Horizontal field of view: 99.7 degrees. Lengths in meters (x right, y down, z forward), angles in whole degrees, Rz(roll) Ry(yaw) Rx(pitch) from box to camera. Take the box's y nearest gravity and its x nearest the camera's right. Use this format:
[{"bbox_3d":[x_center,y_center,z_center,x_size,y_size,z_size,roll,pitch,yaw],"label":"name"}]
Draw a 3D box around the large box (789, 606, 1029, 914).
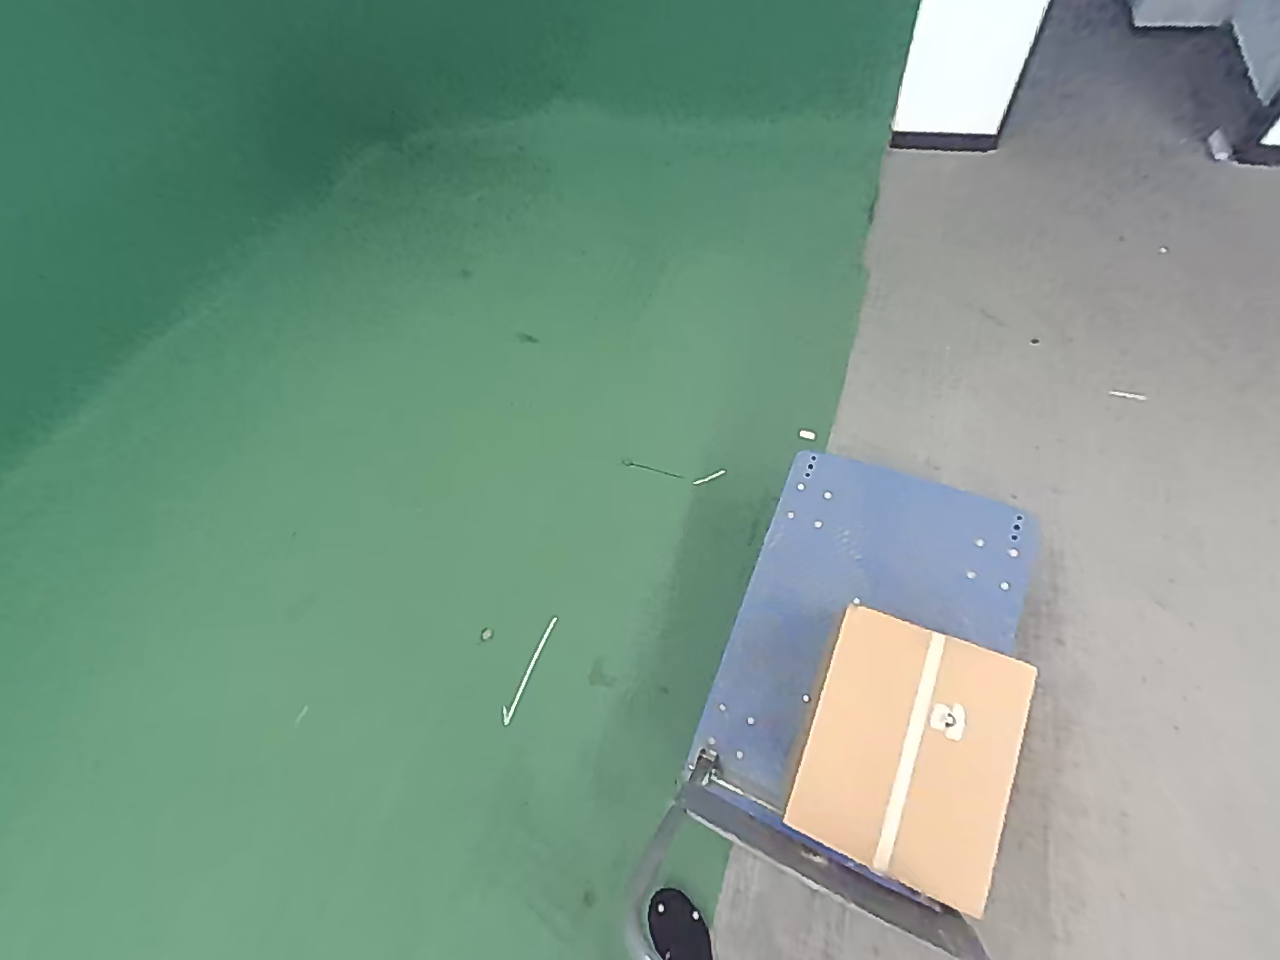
[{"bbox_3d":[0.498,0.507,1.069,0.320,0.320,0.408,18,77,19],"label":"large box"}]
